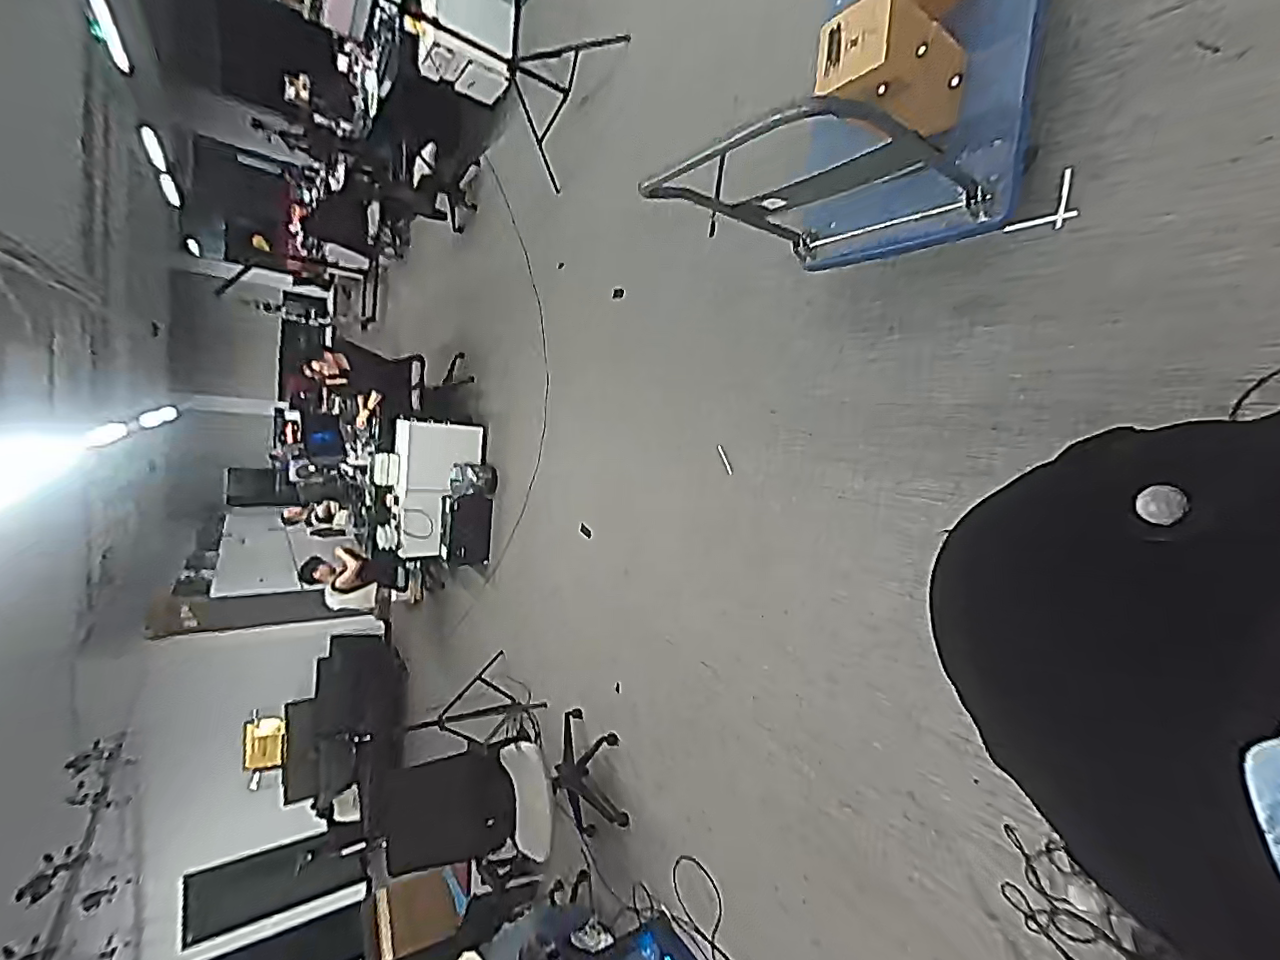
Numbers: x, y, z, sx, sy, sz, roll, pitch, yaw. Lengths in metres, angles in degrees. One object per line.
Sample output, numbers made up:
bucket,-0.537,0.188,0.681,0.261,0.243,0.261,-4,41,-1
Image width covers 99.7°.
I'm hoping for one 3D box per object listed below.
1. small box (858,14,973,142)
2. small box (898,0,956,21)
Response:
small box,0.663,-0.952,1.304,0.179,0.176,0.168,18,104,53
small box,0.699,-1.243,1.268,0.179,0.176,0.168,7,95,54
